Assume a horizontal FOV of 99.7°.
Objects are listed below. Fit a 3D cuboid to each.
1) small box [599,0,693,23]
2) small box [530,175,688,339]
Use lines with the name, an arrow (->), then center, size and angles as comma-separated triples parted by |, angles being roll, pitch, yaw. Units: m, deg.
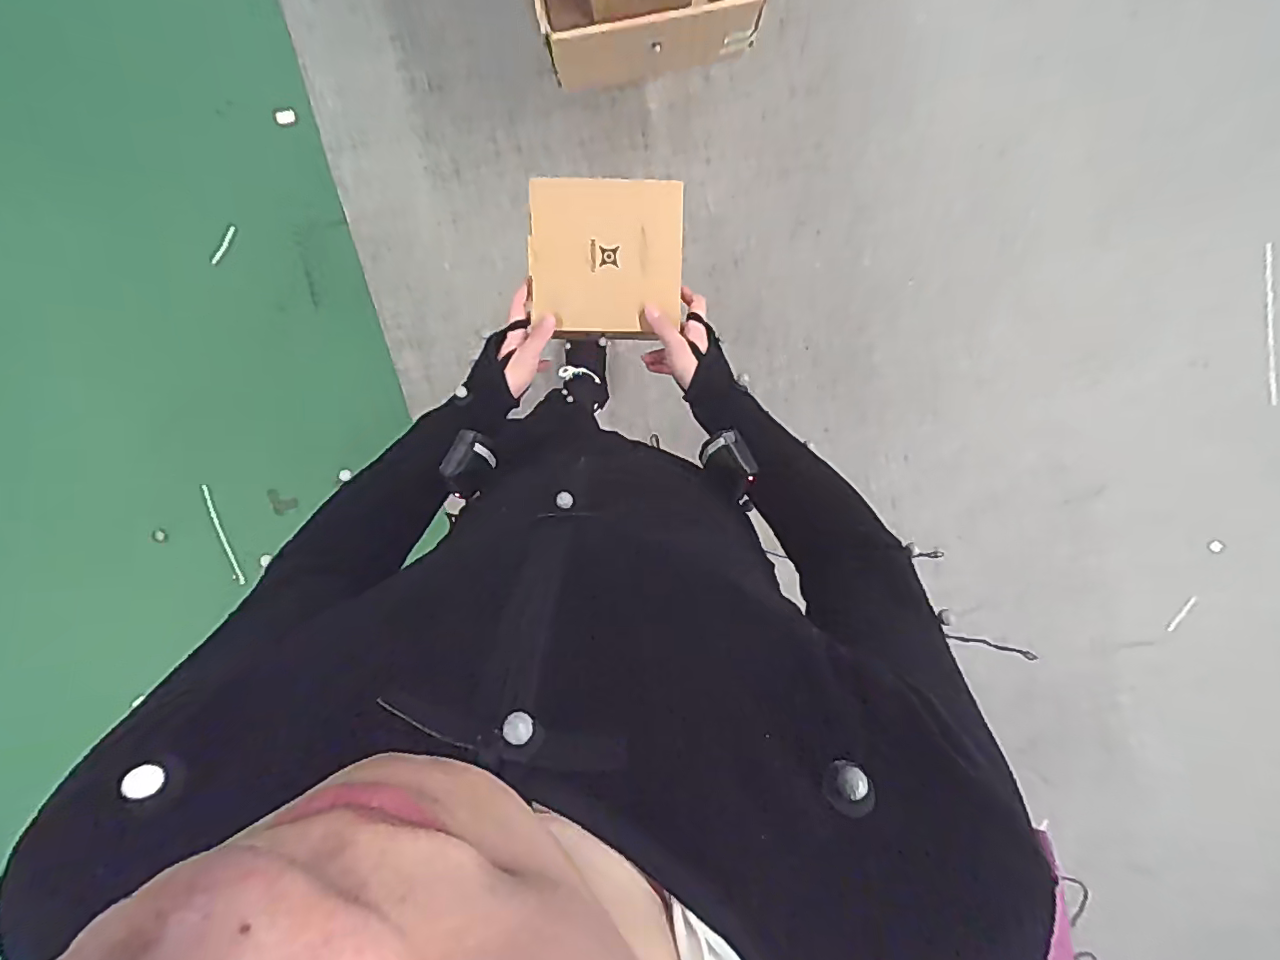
small box -> 0.004, -0.931, 0.924 | 0.179, 0.176, 0.168 | -9, 101, 0
small box -> -0.037, -0.269, 0.689 | 0.179, 0.176, 0.168 | 1, 102, -2
